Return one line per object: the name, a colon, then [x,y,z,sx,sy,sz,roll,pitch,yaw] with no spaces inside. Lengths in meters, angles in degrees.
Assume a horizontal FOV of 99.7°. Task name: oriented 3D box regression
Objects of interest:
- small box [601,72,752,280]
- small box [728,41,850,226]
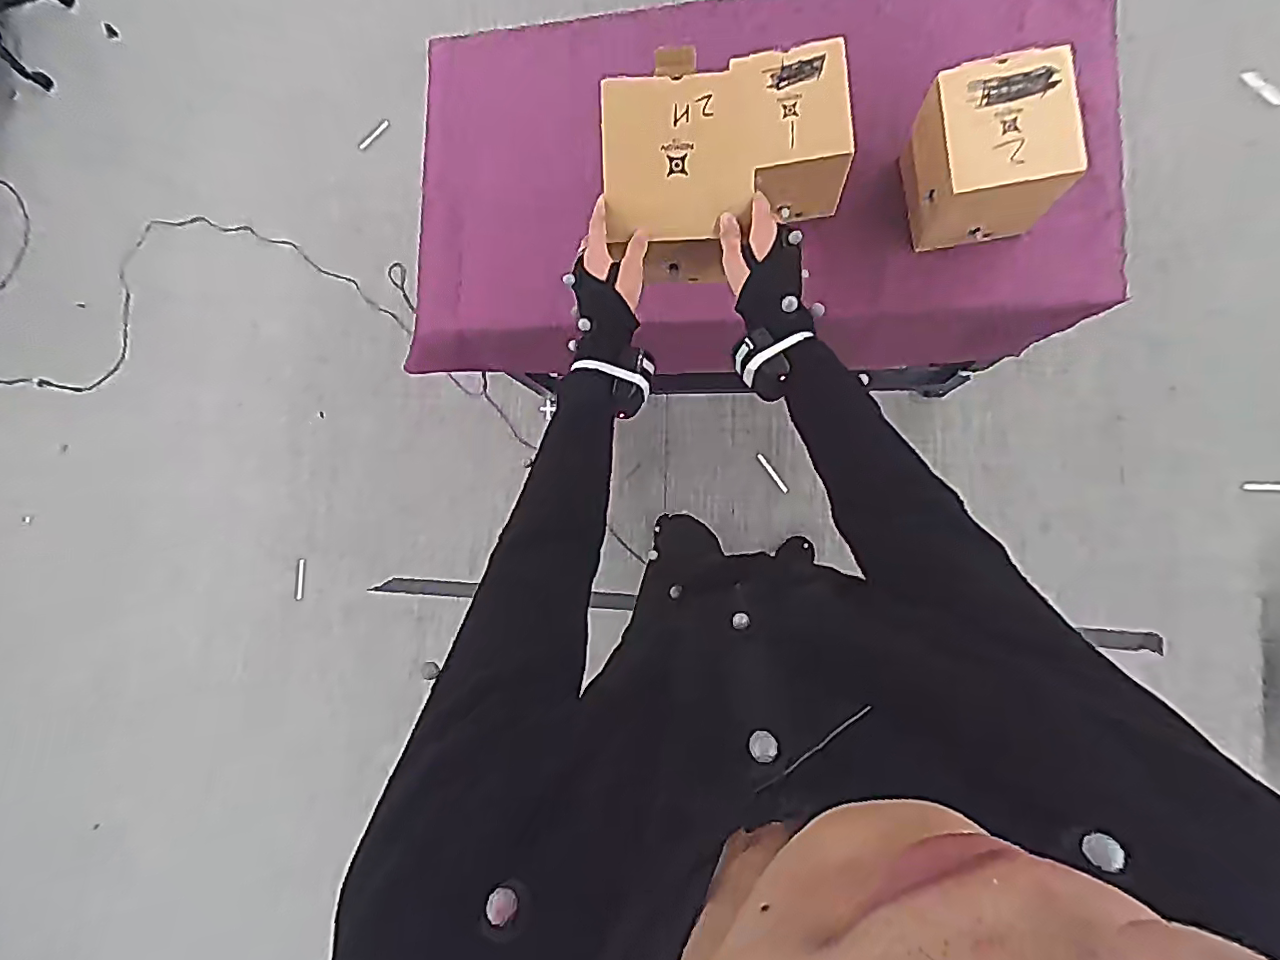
small box: [0.045,-0.356,0.669,0.168,0.176,0.179,-1,93,3]
small box: [0.228,-0.541,0.868,0.168,0.176,0.179,-5,85,10]
